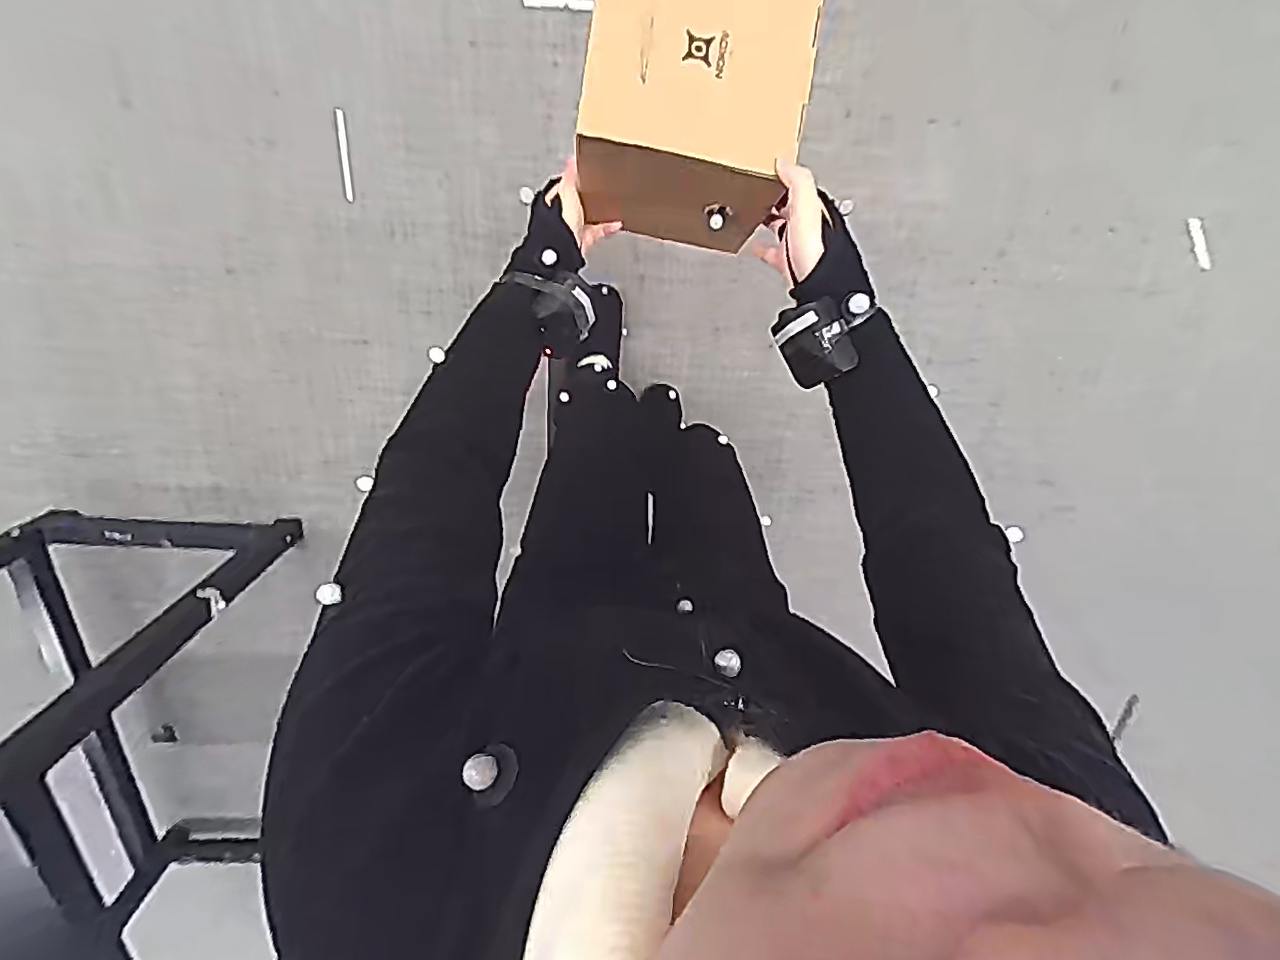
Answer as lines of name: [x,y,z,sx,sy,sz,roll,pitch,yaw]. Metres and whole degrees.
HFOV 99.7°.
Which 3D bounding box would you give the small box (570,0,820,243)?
small box: [0.037,-0.337,0.492,0.179,0.176,0.168,9,92,-6]
